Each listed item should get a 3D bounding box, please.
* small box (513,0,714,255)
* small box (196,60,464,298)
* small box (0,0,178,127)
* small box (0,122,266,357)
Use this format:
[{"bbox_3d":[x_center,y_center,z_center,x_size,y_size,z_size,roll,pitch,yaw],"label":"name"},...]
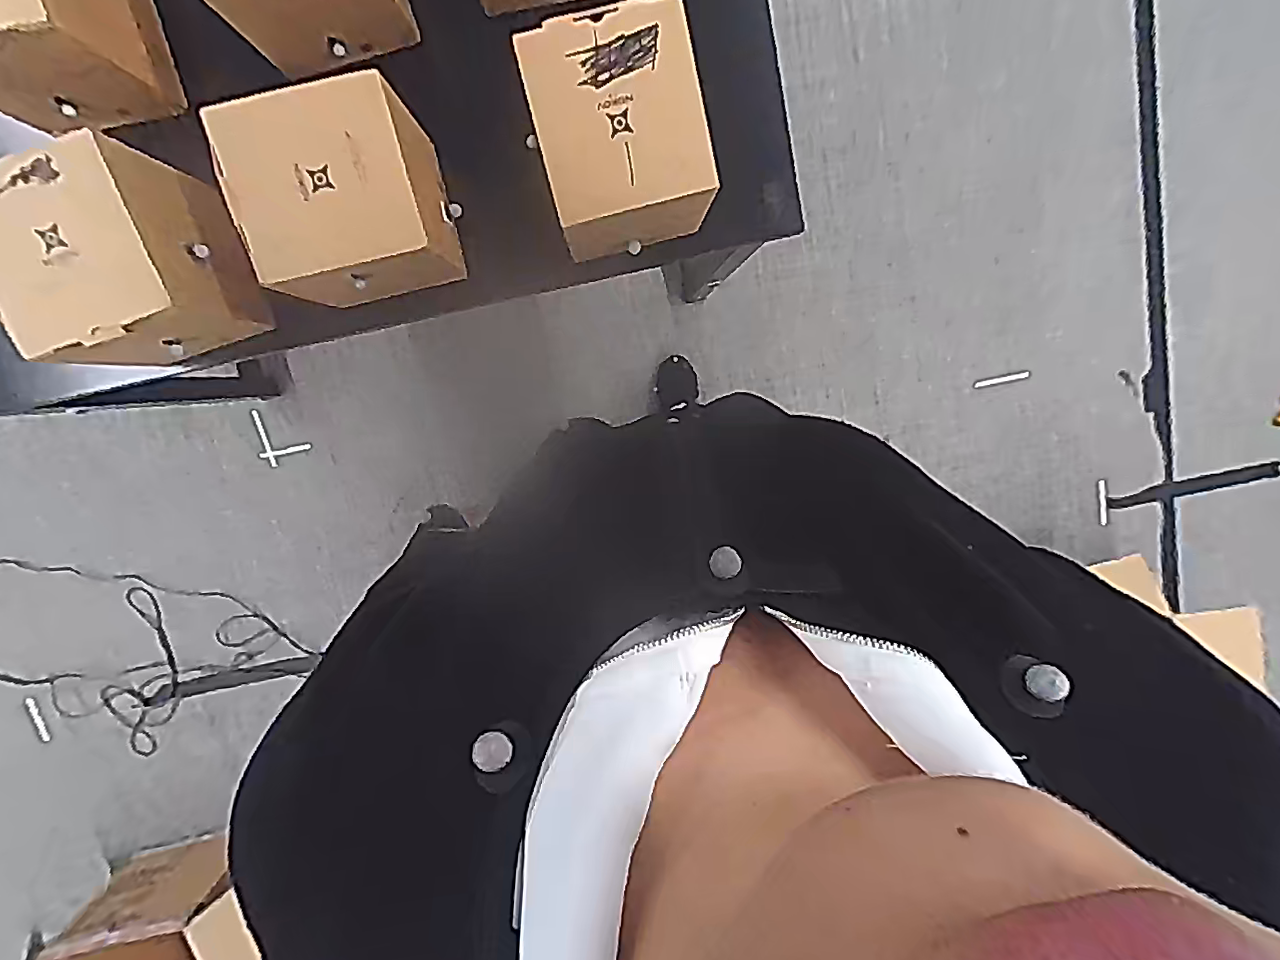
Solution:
[{"bbox_3d":[-0.028,-0.374,0.600,0.168,0.176,0.179,-14,101,1],"label":"small box"},{"bbox_3d":[-0.320,-0.312,0.601,0.179,0.176,0.168,-14,101,-1],"label":"small box"},{"bbox_3d":[-0.637,-0.503,0.550,0.168,0.176,0.179,-12,101,-1],"label":"small box"},{"bbox_3d":[-0.569,-0.245,0.600,0.168,0.176,0.179,-19,101,1],"label":"small box"}]
